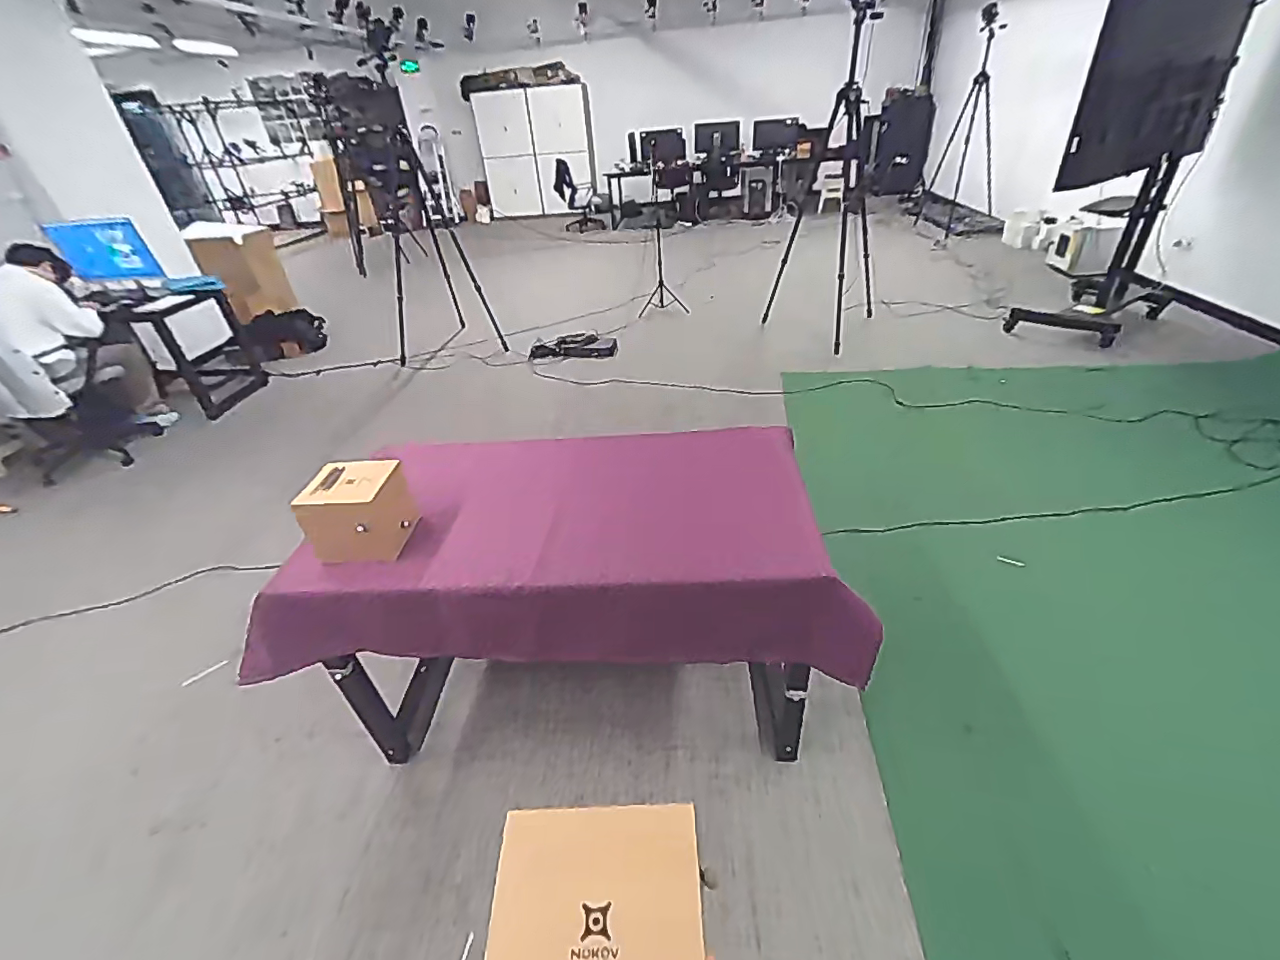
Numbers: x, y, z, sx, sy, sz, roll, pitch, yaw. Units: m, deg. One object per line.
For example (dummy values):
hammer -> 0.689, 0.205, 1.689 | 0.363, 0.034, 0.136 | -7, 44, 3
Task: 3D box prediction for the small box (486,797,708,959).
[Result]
small box -> -0.026, 0.396, 0.462 | 0.168, 0.176, 0.179 | -4, 43, 3
